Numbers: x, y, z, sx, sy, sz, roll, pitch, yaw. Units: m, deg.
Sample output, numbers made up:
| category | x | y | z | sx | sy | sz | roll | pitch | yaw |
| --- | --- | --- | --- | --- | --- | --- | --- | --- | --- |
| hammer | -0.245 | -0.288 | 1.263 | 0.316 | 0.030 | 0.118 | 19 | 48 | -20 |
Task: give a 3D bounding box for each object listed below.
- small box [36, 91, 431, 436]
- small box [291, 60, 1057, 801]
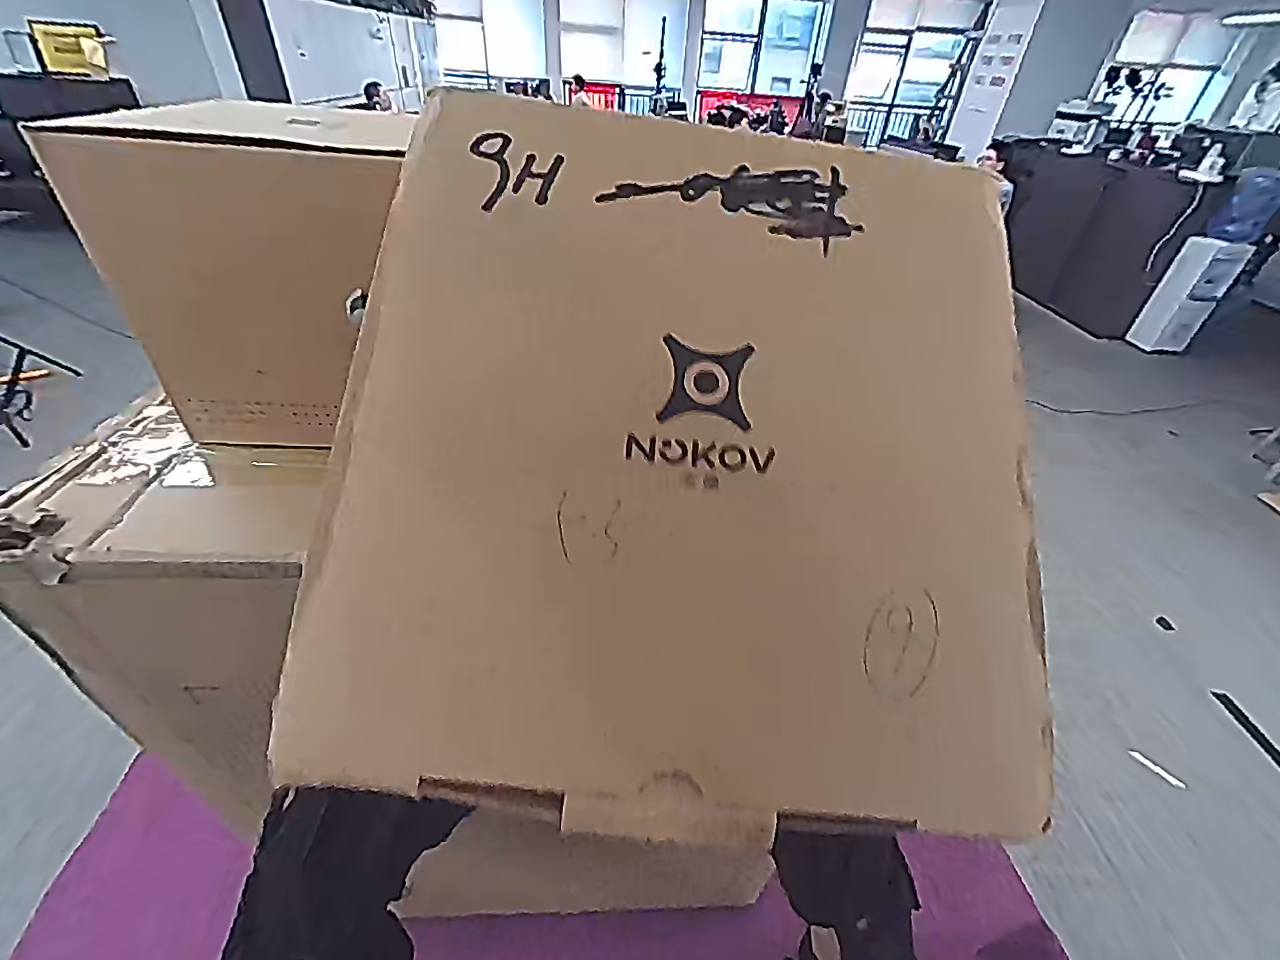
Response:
| category | x | y | z | sx | sy | sz | roll | pitch | yaw |
| --- | --- | --- | --- | --- | --- | --- | --- | --- | --- |
| small box | -0.183 | -0.138 | 0.349 | 0.179 | 0.176 | 0.168 | 1 | 37 | -4 |
| small box | 0.012 | -0.005 | 0.210 | 0.168 | 0.176 | 0.179 | 6 | 75 | -3 |
